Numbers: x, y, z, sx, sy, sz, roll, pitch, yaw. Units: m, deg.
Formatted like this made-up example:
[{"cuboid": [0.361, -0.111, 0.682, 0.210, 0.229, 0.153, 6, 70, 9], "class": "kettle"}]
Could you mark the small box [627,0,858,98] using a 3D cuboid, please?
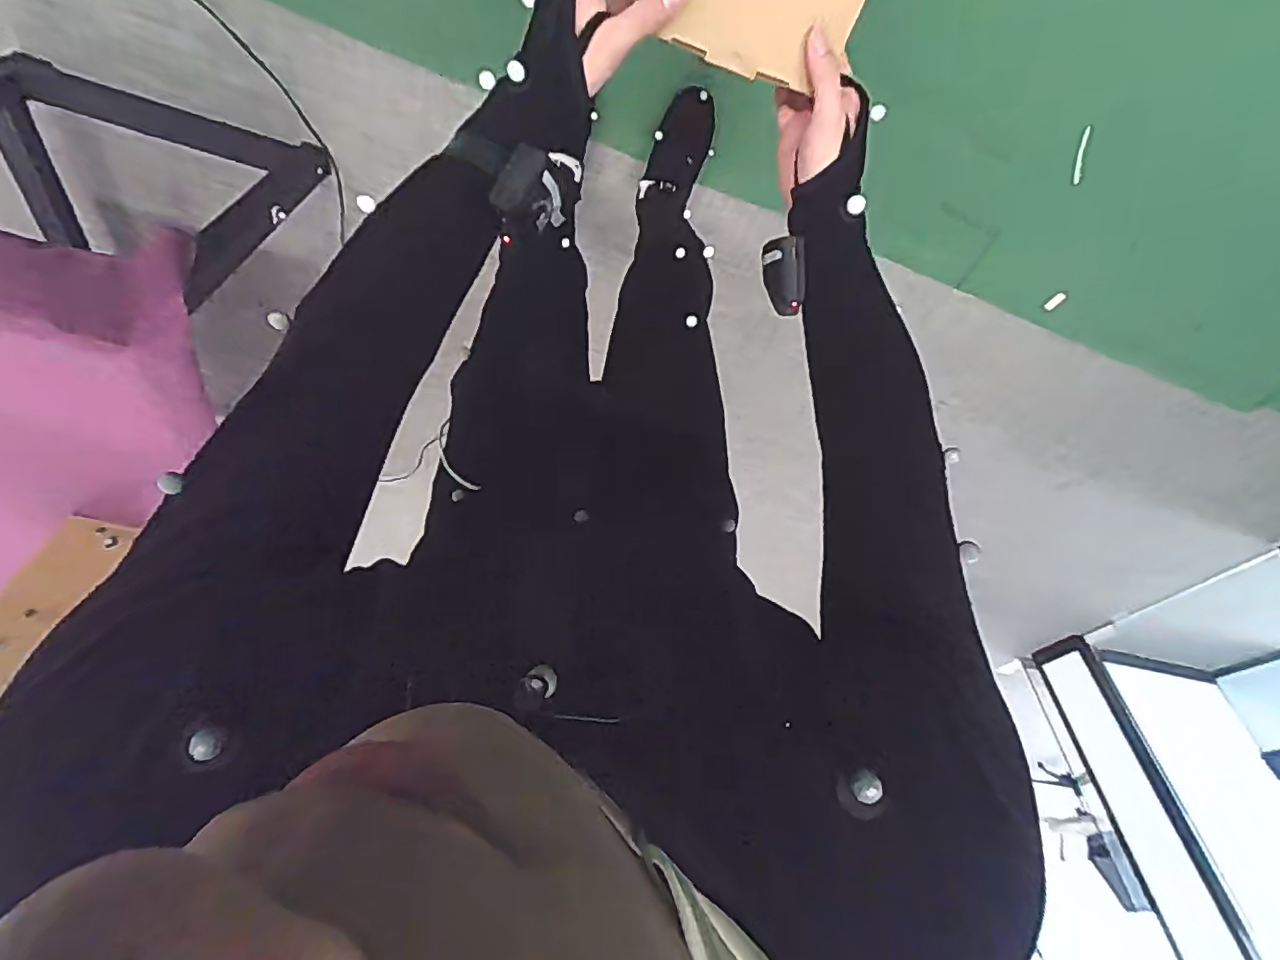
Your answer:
[{"cuboid": [0.090, -0.449, 0.427, 0.168, 0.176, 0.179, 9, 136, -15], "class": "small box"}]
